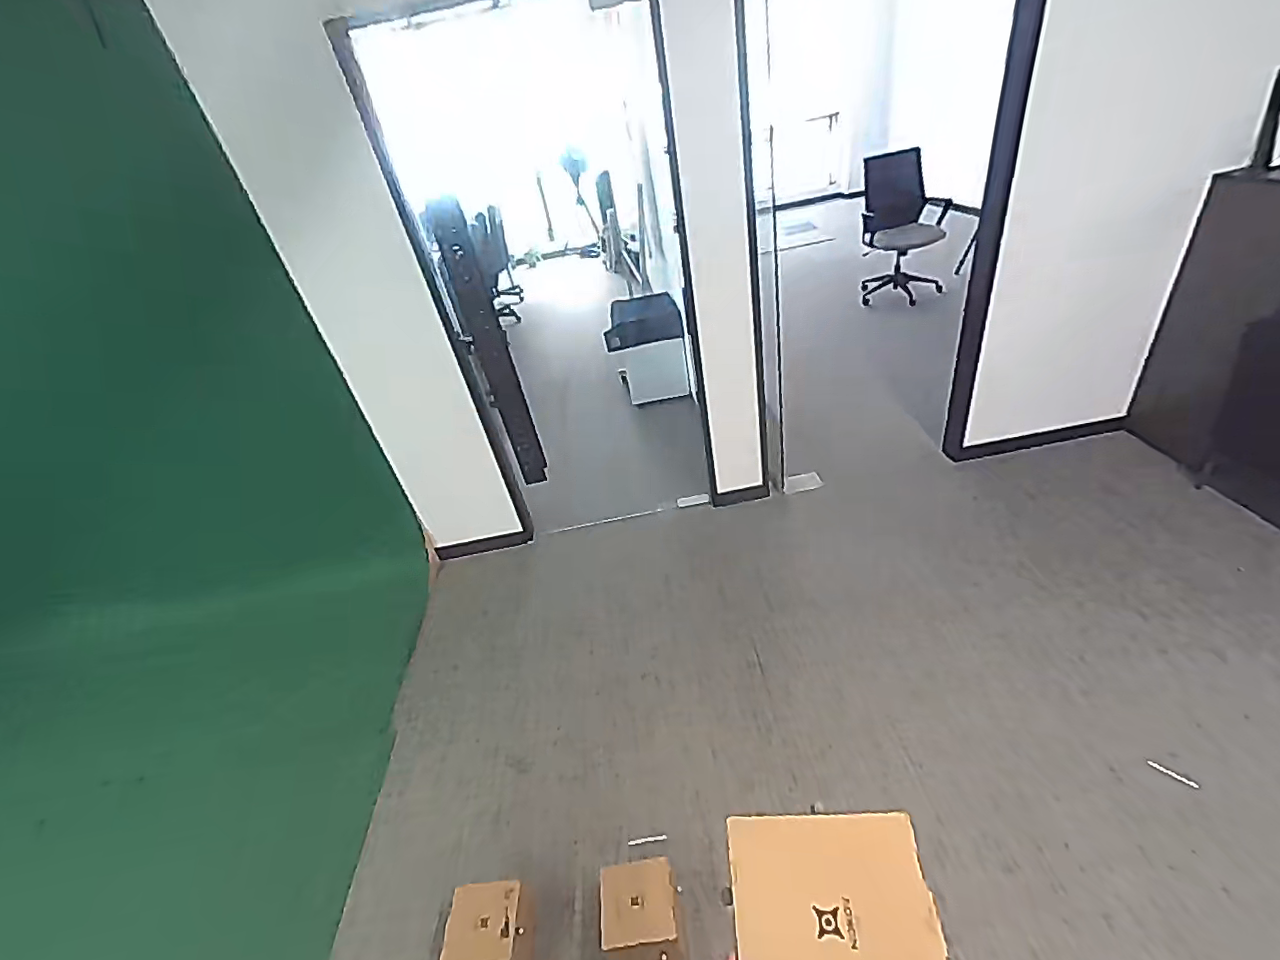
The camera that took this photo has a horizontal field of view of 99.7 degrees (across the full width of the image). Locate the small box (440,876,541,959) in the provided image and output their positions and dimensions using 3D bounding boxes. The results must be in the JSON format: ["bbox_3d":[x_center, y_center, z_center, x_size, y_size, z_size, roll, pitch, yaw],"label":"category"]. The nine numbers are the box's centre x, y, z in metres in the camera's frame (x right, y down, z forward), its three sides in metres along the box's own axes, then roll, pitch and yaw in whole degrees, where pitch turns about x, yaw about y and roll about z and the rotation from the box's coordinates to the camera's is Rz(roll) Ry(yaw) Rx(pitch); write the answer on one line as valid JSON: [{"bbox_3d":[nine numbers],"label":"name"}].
[{"bbox_3d":[-0.361,1.117,1.337,0.179,0.176,0.168,-9,34,5],"label":"small box"}]

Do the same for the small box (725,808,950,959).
[{"bbox_3d":[0.182,0.432,0.530,0.179,0.176,0.168,-5,49,7],"label":"small box"}]

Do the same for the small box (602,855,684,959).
[{"bbox_3d":[0.010,1.052,1.317,0.179,0.176,0.168,-11,33,3],"label":"small box"}]
